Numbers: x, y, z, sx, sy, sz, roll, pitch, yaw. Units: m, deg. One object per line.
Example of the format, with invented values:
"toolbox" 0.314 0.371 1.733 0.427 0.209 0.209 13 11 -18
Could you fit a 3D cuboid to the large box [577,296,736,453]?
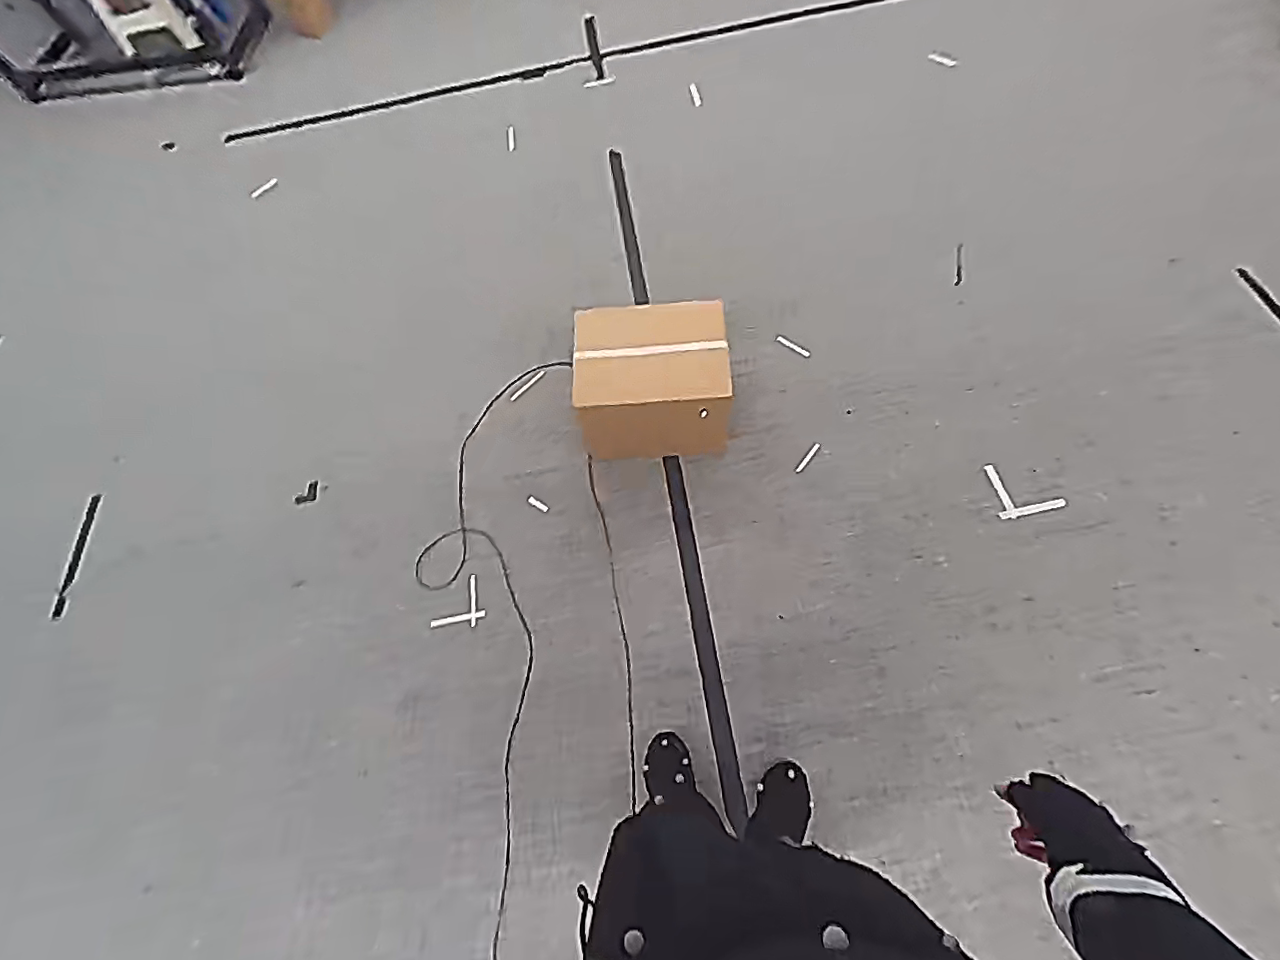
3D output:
"large box" 0.049 -0.284 1.533 0.408 0.320 0.320 -3 66 4
